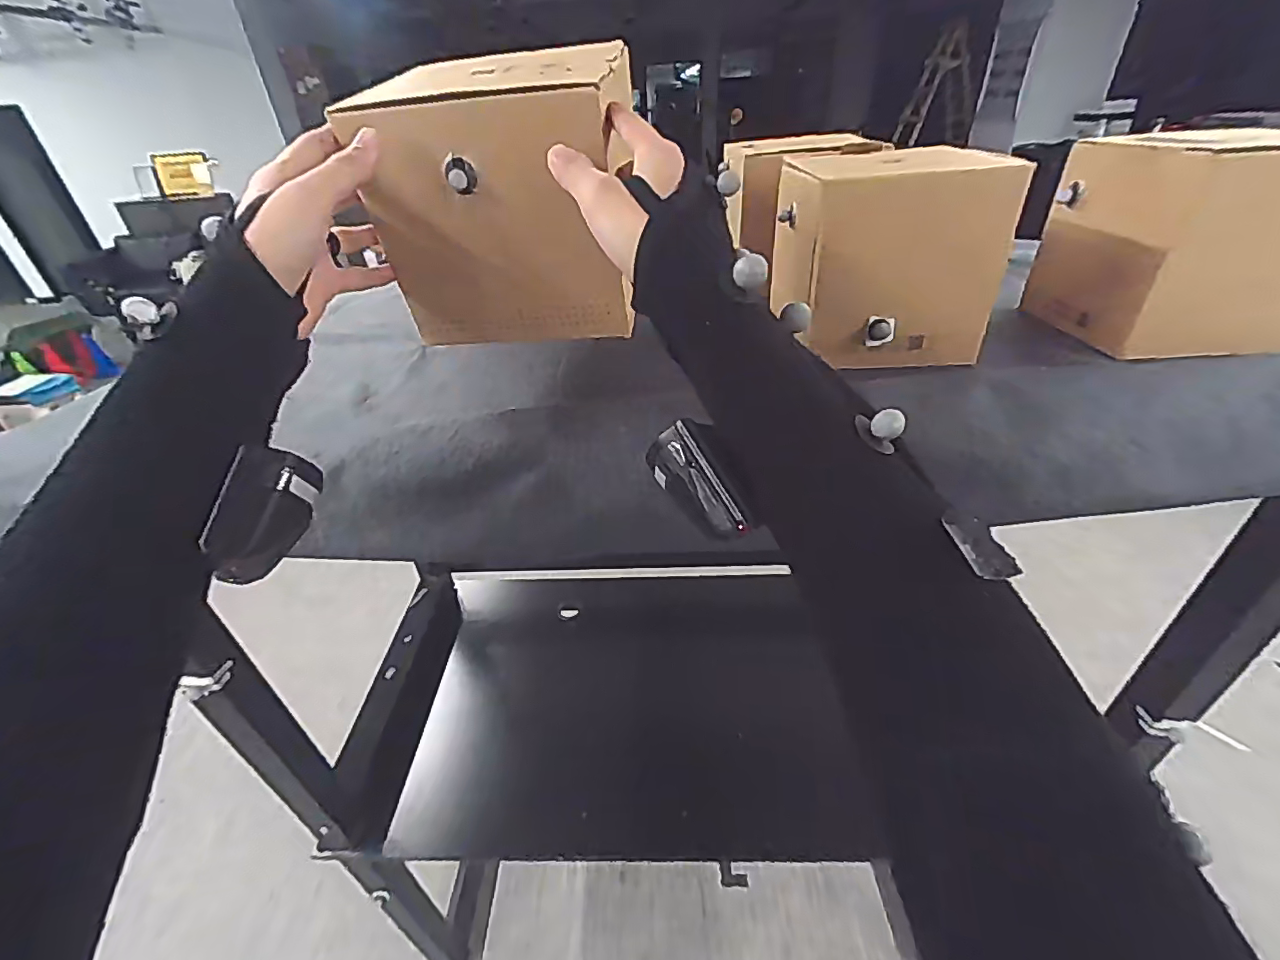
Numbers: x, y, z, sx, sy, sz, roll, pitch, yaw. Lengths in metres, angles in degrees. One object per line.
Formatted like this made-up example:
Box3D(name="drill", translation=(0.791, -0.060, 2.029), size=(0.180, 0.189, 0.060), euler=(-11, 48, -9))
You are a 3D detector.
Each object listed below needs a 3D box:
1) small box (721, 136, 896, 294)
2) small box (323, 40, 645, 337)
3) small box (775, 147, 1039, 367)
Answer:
Box3D(name="small box", translation=(0.209, -0.356, 0.725), size=(0.179, 0.176, 0.168), euler=(-2, 34, 1))
Box3D(name="small box", translation=(-0.095, -0.226, 0.430), size=(0.179, 0.176, 0.168), euler=(0, 45, 7))
Box3D(name="small box", translation=(0.231, -0.220, 0.528), size=(0.168, 0.176, 0.179), euler=(-2, 34, 4))
